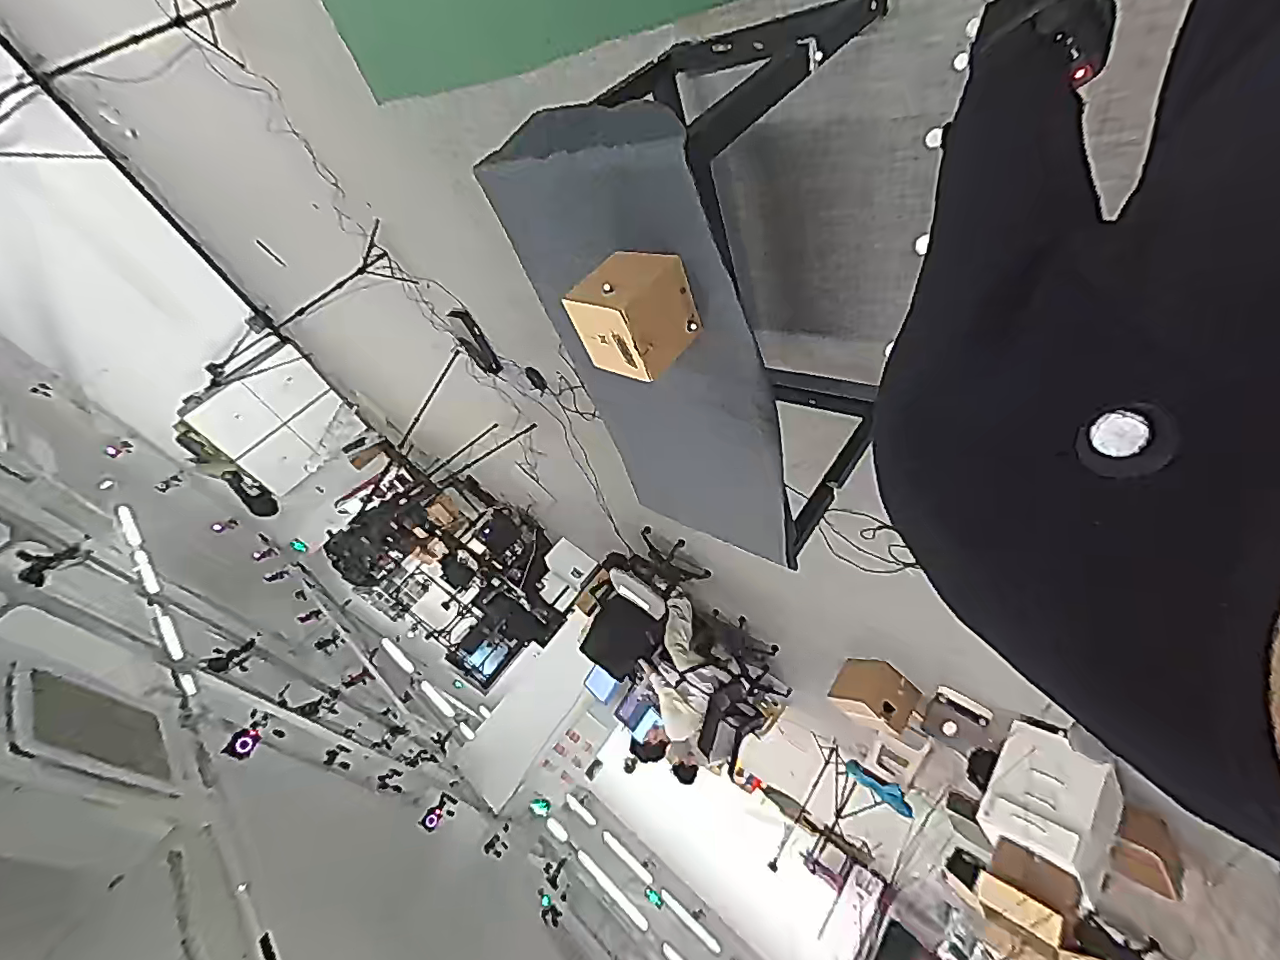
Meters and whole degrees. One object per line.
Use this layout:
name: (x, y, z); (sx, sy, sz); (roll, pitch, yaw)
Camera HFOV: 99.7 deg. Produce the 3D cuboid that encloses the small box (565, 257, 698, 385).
small box: (-0.006, -0.315, 1.054); (0.179, 0.176, 0.168); (25, 154, 40)
